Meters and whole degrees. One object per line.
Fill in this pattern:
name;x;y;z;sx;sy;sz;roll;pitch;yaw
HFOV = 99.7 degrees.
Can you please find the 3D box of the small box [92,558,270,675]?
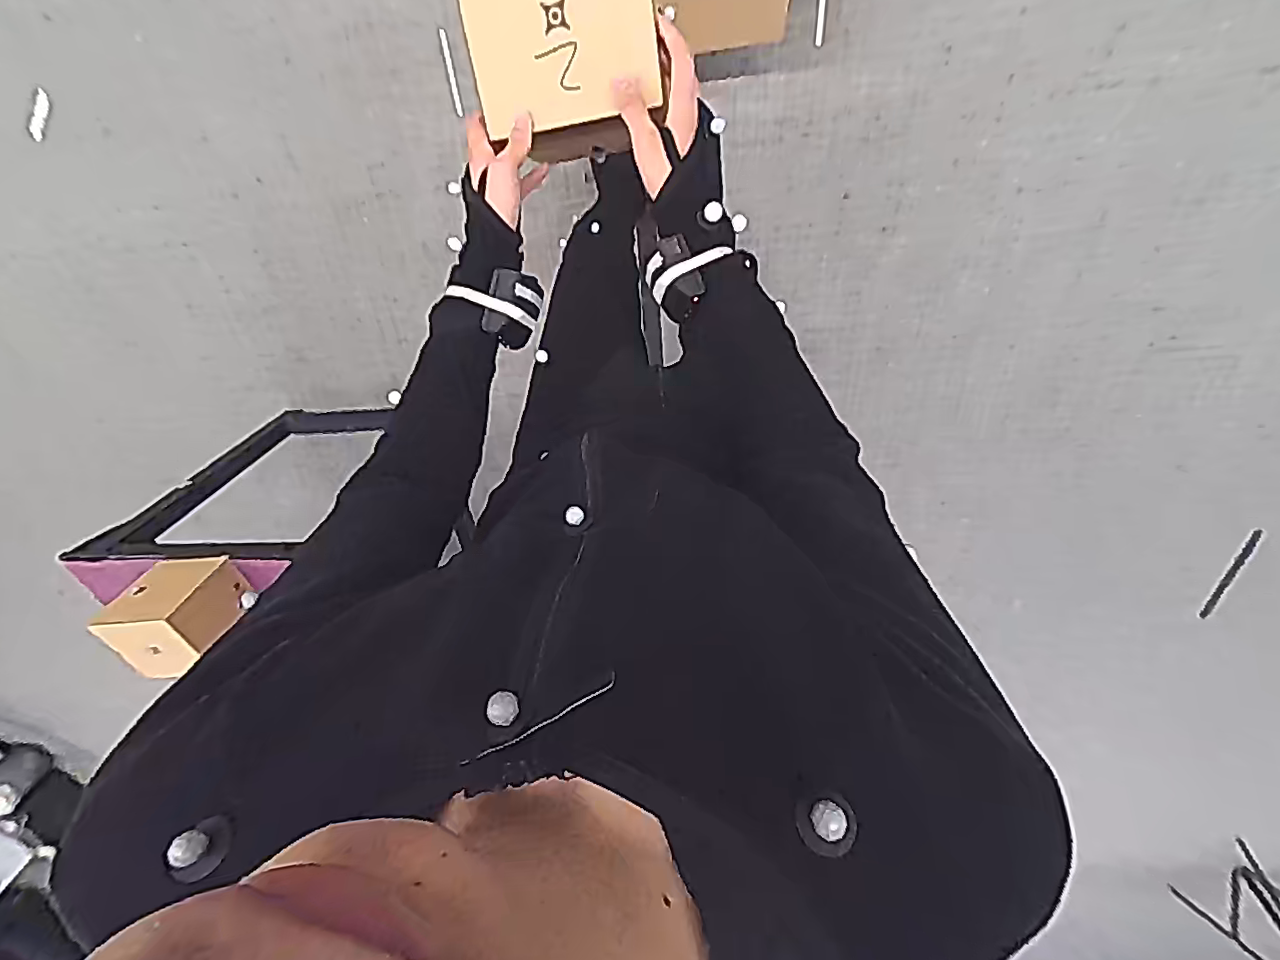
small box;-0.910;0.273;1.093;0.179;0.176;0.168;-5;126;11
